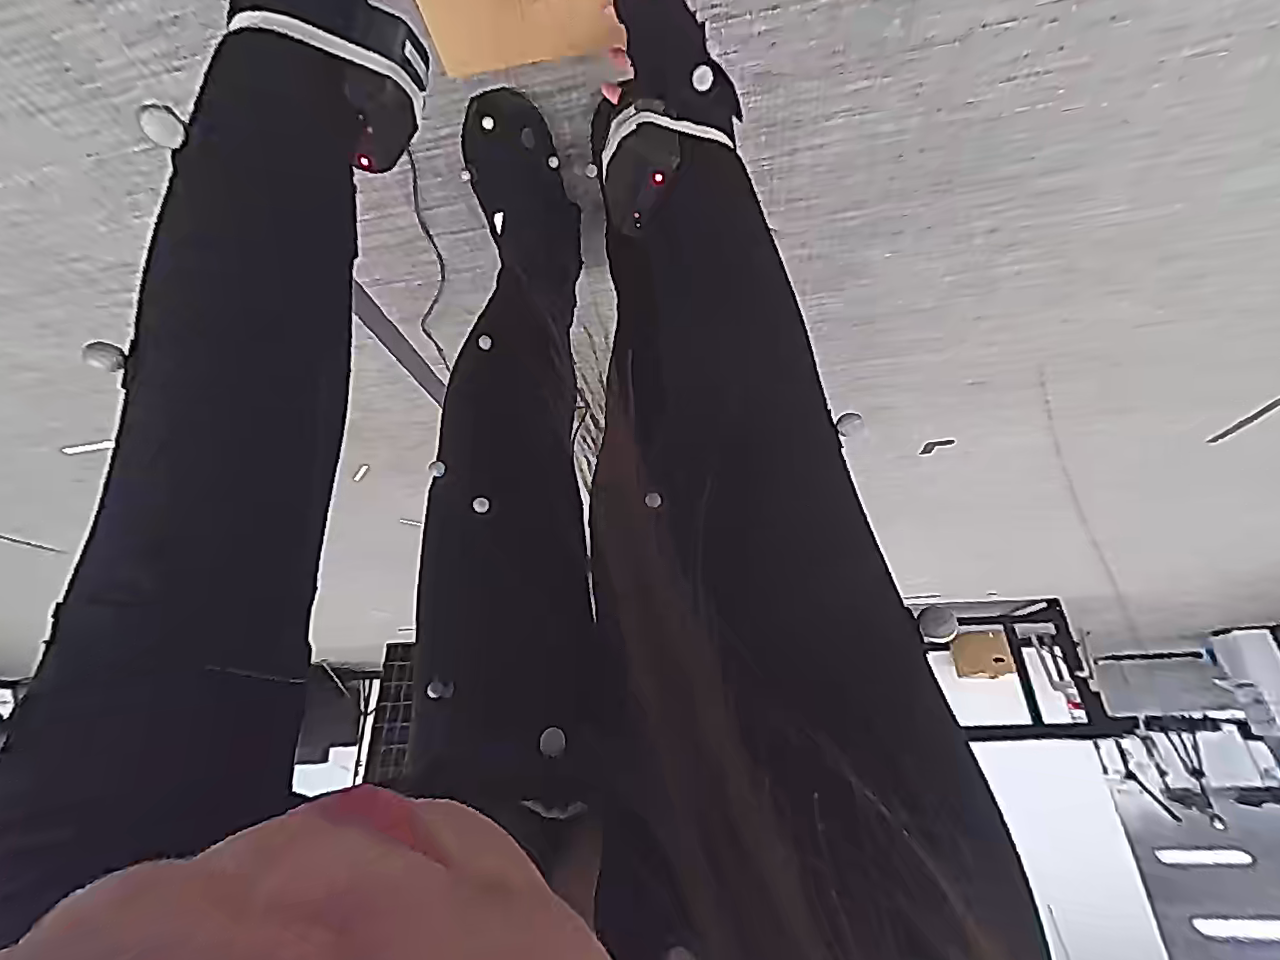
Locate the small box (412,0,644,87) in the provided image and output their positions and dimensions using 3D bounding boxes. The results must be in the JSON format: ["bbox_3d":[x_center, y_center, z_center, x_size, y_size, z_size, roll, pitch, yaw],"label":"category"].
[{"bbox_3d":[-0.090,-0.437,0.392,0.168,0.176,0.179,-4,156,7],"label":"small box"}]
